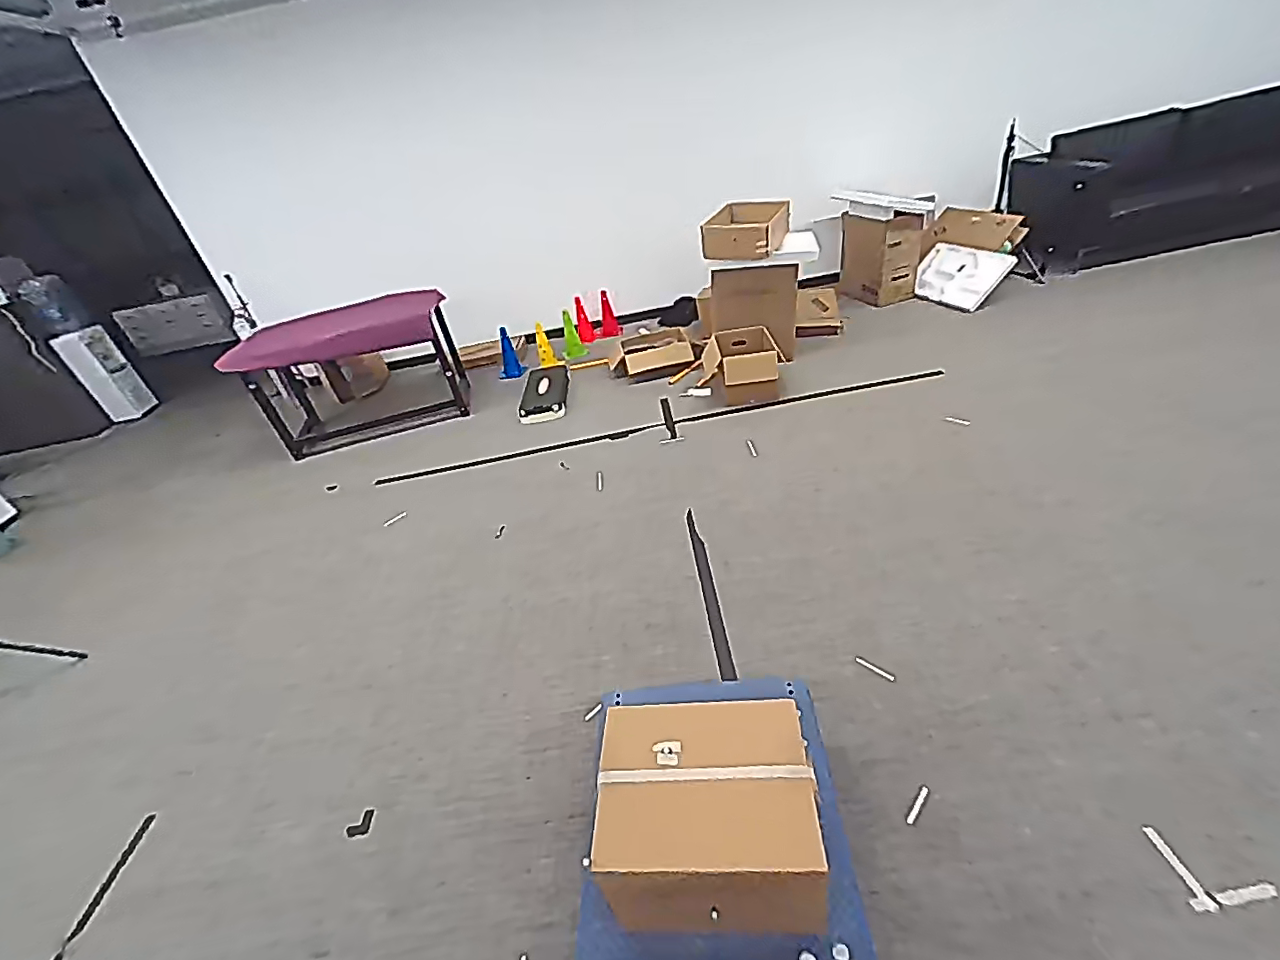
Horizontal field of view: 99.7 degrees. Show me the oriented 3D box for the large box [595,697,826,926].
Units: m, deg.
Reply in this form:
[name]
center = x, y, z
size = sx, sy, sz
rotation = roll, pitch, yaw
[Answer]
[large box]
center = 0.148, 0.693, 1.131
size = 0.408, 0.320, 0.320
rotation = -7, 34, 8
